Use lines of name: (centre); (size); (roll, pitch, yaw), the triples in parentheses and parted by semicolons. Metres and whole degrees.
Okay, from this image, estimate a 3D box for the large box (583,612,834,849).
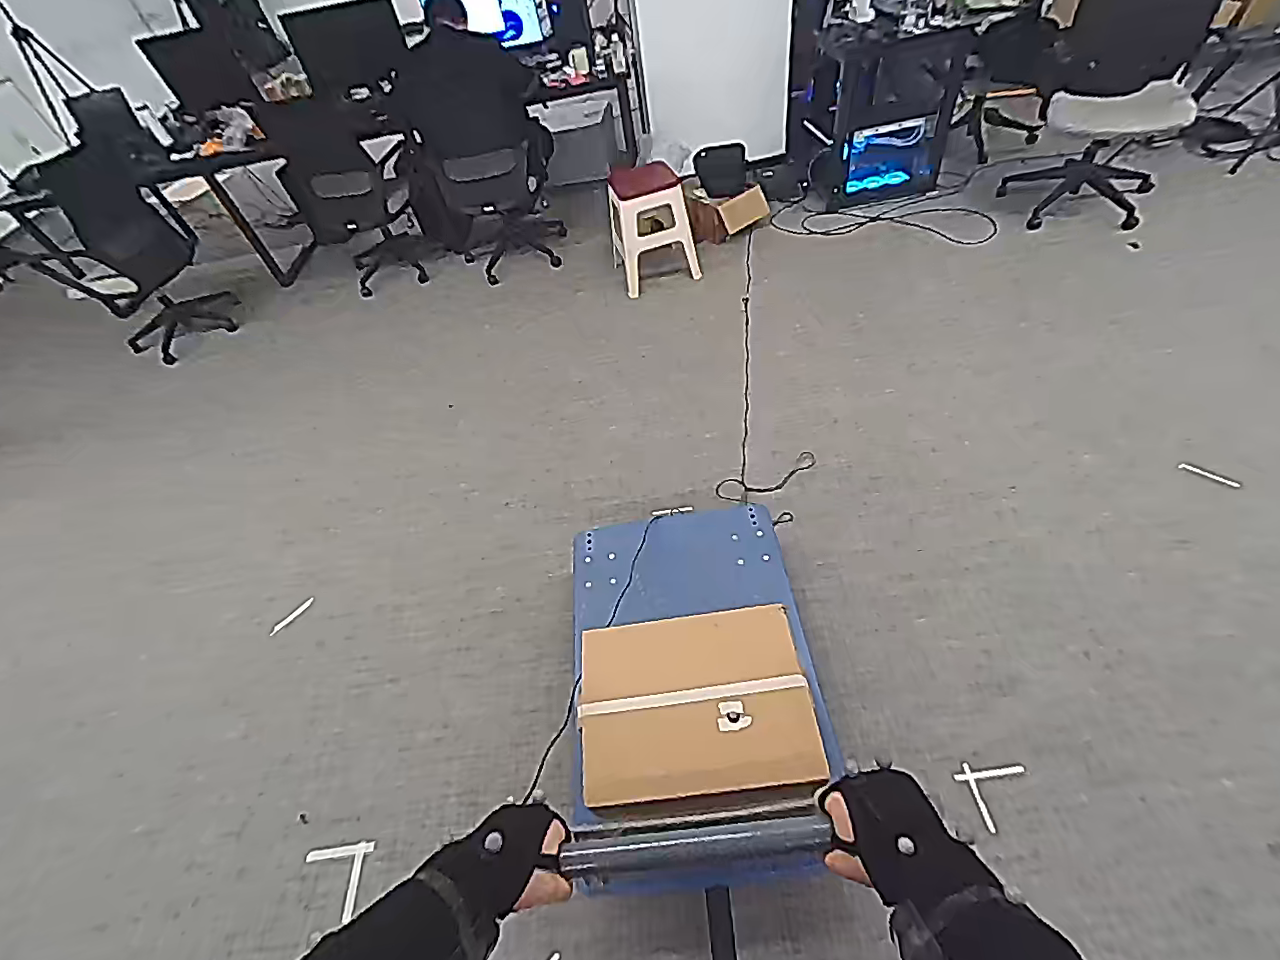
large box: (0.116, 0.495, 1.058); (0.408, 0.320, 0.320); (-9, 49, 3)
